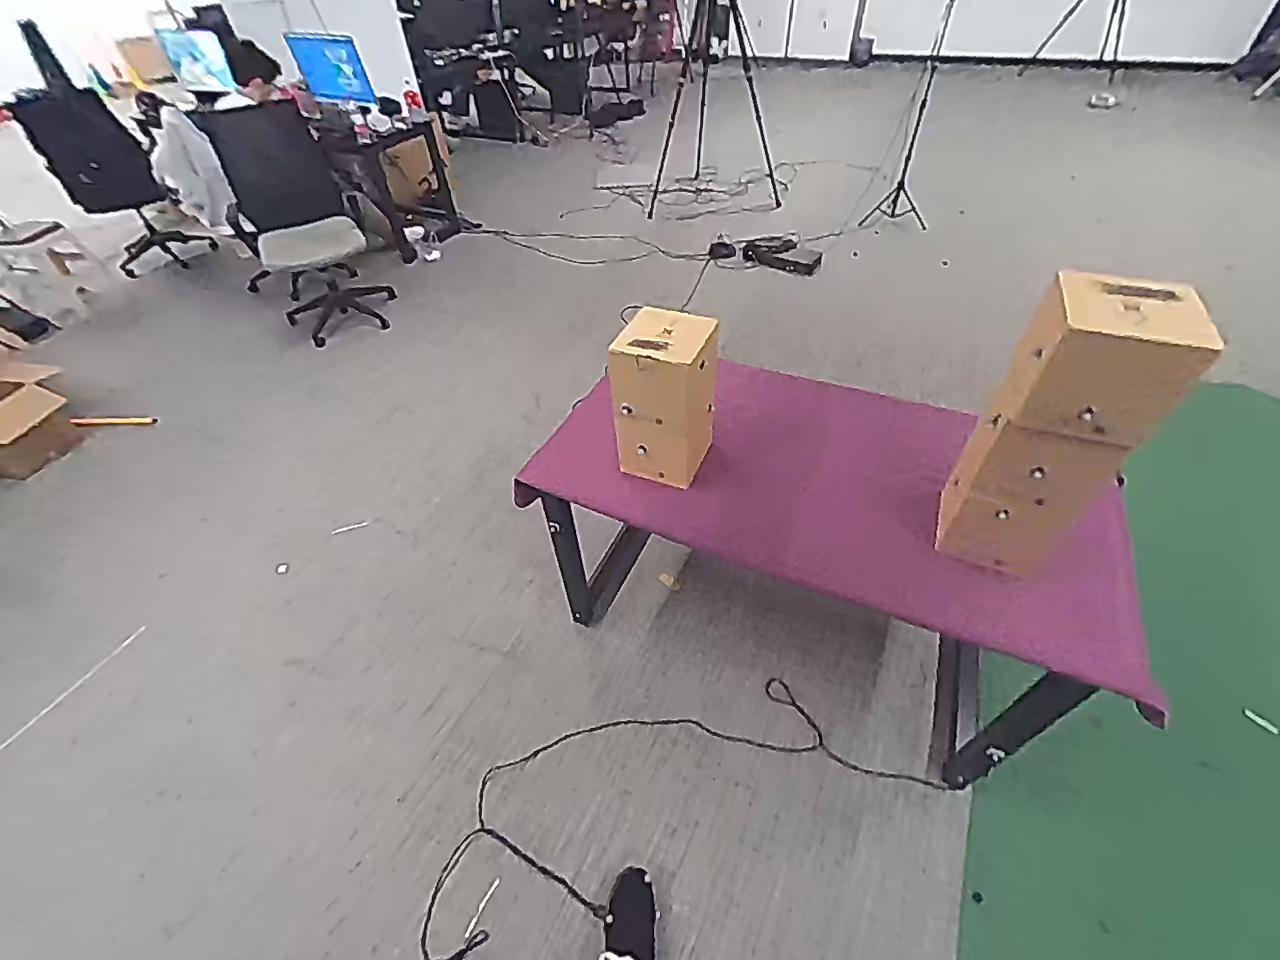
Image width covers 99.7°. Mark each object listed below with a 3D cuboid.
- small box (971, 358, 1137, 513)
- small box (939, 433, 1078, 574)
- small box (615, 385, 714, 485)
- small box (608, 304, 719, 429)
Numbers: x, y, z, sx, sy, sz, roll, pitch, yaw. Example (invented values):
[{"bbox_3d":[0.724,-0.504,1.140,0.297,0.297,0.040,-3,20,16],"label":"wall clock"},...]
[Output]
[{"bbox_3d":[0.674,-0.073,0.899,0.168,0.176,0.179,18,49,20],"label":"small box"},{"bbox_3d":[0.681,0.043,1.017,0.168,0.176,0.179,16,48,20],"label":"small box"},{"bbox_3d":[0.061,-0.115,1.212,0.168,0.176,0.179,16,49,18],"label":"small box"},{"bbox_3d":[0.053,-0.228,1.092,0.168,0.176,0.179,16,48,18],"label":"small box"}]
